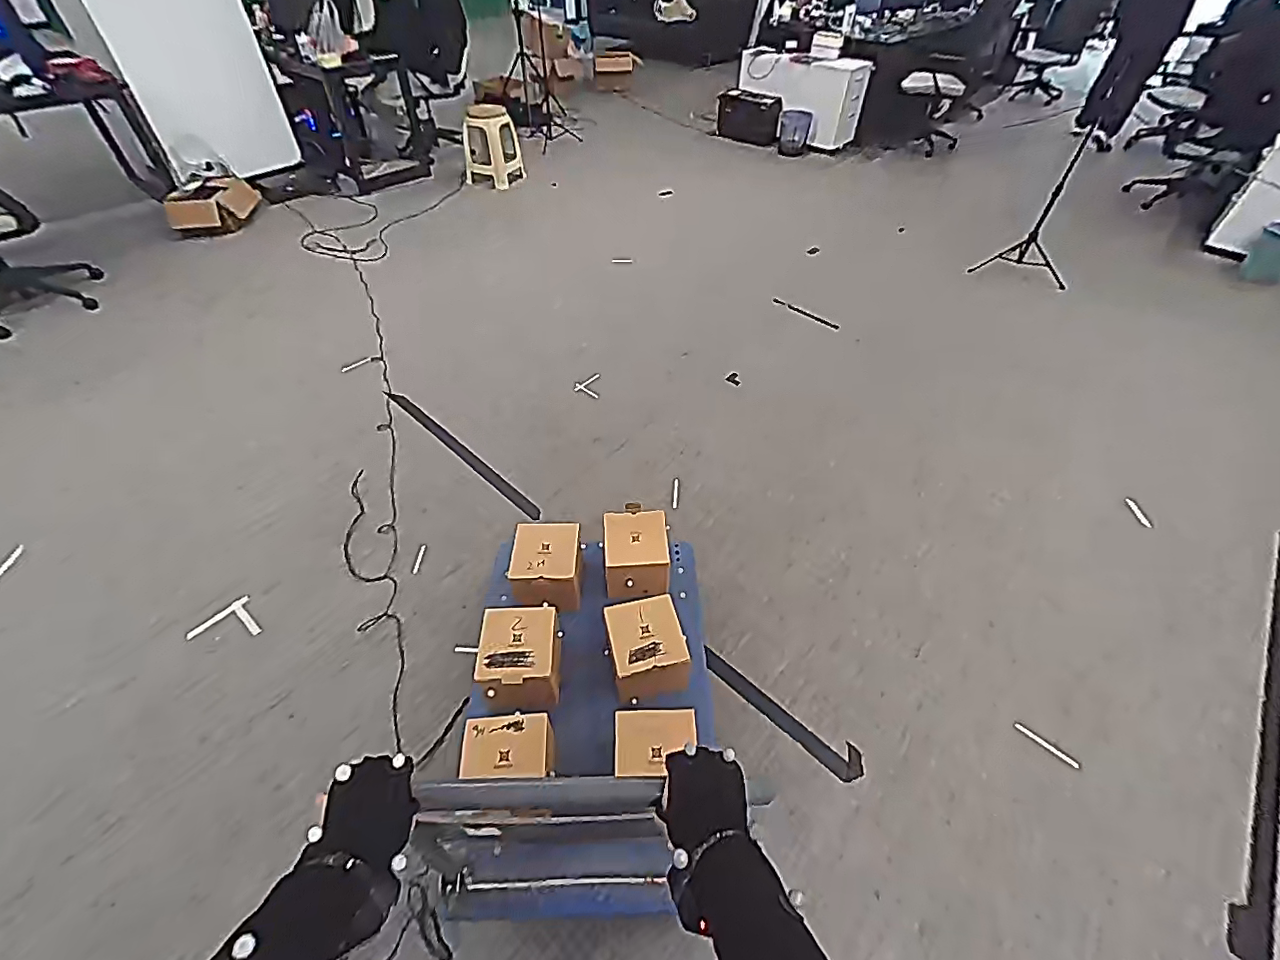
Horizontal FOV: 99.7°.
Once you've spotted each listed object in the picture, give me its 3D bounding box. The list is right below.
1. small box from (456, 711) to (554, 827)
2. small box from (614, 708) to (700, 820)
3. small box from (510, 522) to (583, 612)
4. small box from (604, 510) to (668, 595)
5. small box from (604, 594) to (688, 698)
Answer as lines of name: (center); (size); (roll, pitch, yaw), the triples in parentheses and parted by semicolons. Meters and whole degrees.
small box: (-0.266, 0.598, 1.111); (0.168, 0.176, 0.179); (-2, 47, -5)
small box: (0.032, 0.593, 1.125); (0.168, 0.176, 0.179); (0, 46, -2)
small box: (-0.243, 0.233, 1.452); (0.168, 0.176, 0.179); (1, 48, 0)
small box: (-0.012, 0.205, 1.484); (0.168, 0.176, 0.179); (-3, 47, -3)
small box: (0.012, 0.404, 1.299); (0.168, 0.176, 0.179); (-9, 47, -10)
